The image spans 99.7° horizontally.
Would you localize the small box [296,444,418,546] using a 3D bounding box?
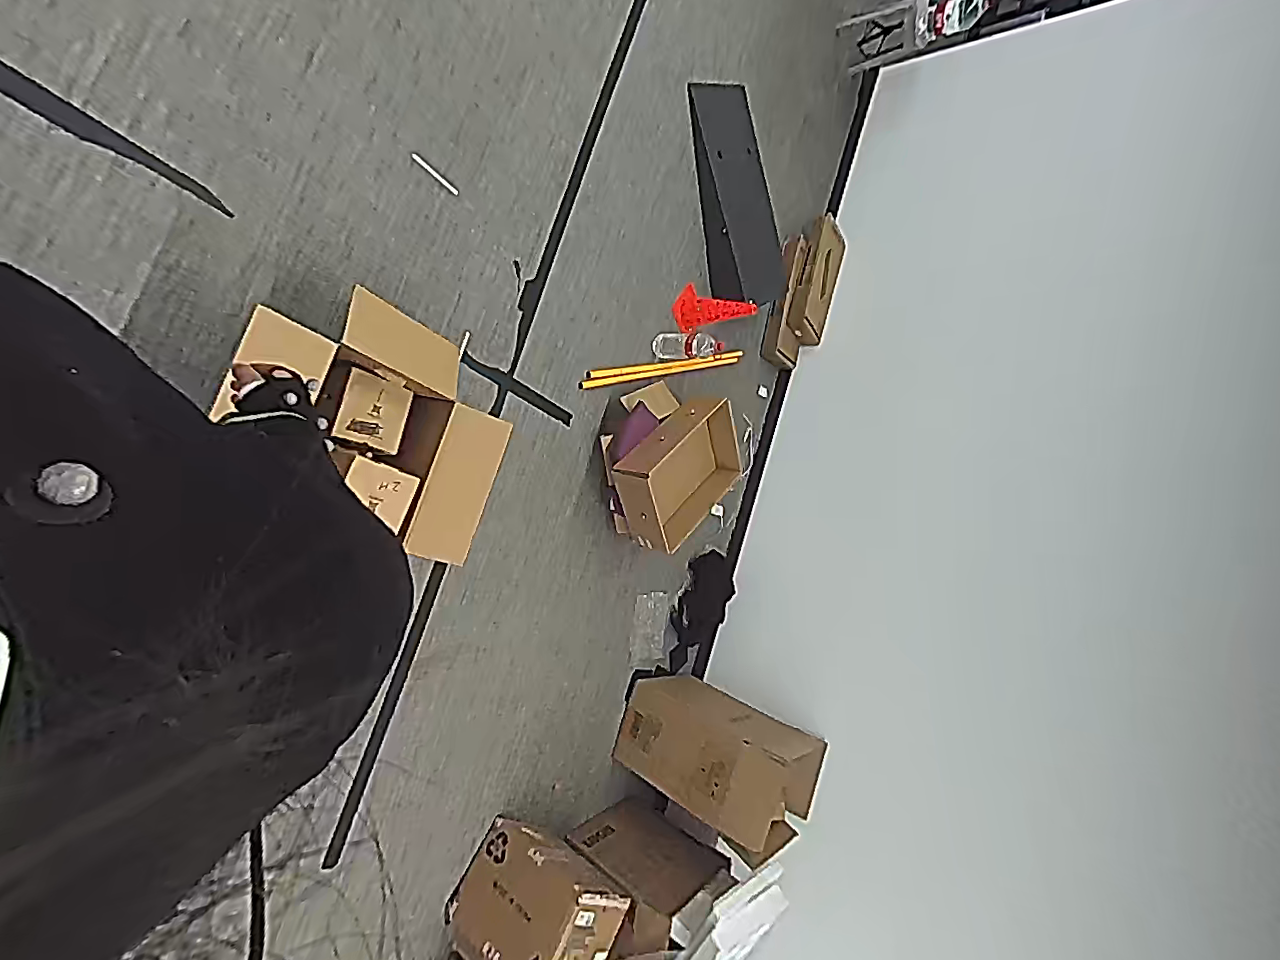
[{"bbox_3d":[-0.656,0.034,1.248,0.168,0.176,0.179,31,75,-52],"label":"small box"}]
